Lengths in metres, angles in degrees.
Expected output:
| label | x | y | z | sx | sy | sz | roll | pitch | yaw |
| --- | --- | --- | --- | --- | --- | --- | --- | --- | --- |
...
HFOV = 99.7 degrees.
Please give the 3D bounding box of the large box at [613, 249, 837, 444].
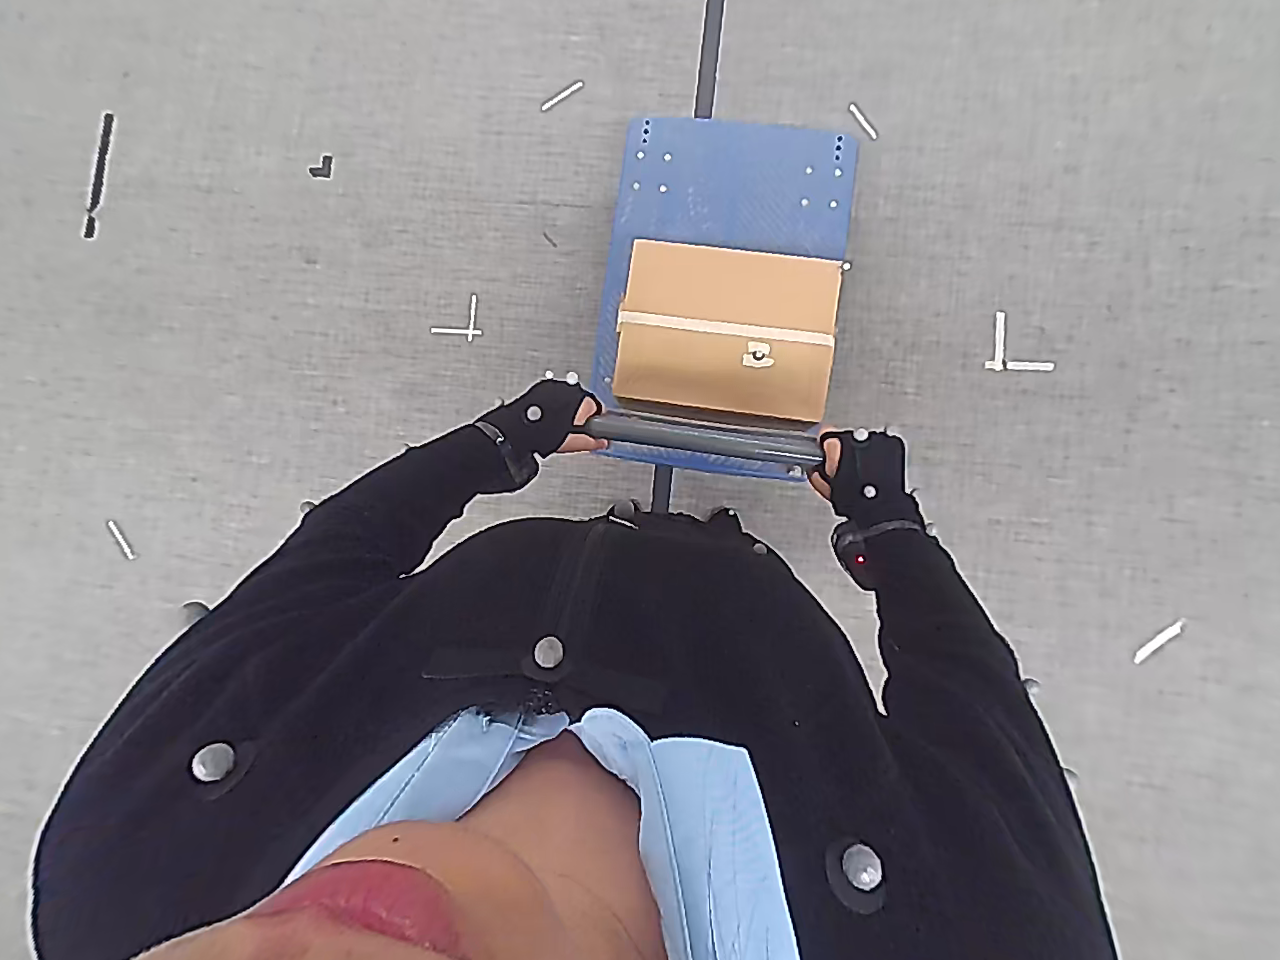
| label | x | y | z | sx | sy | sz | roll | pitch | yaw |
| --- | --- | --- | --- | --- | --- | --- | --- | --- | --- |
| large box | 0.168 | -0.268 | 1.183 | 0.408 | 0.320 | 0.320 | 8 | 89 | 3 |
